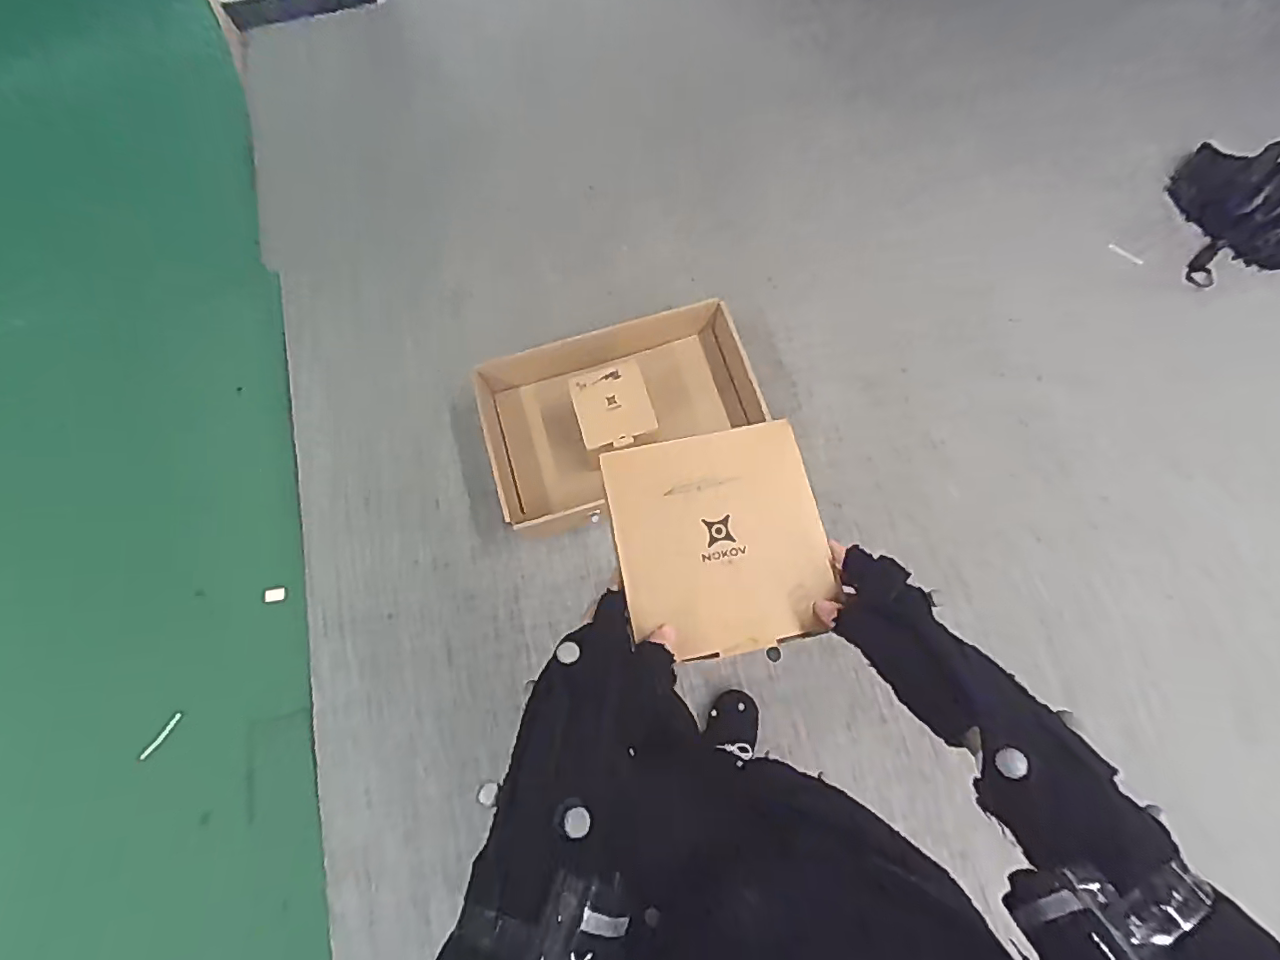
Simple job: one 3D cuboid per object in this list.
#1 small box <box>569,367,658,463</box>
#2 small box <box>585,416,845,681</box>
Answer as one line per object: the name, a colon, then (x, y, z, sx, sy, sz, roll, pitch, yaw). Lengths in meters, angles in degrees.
small box: (-0.055, -0.133, 1.270, 0.168, 0.176, 0.179, -16, 76, -3)
small box: (0.056, 0.069, 0.499, 0.168, 0.176, 0.179, -15, 74, -5)
